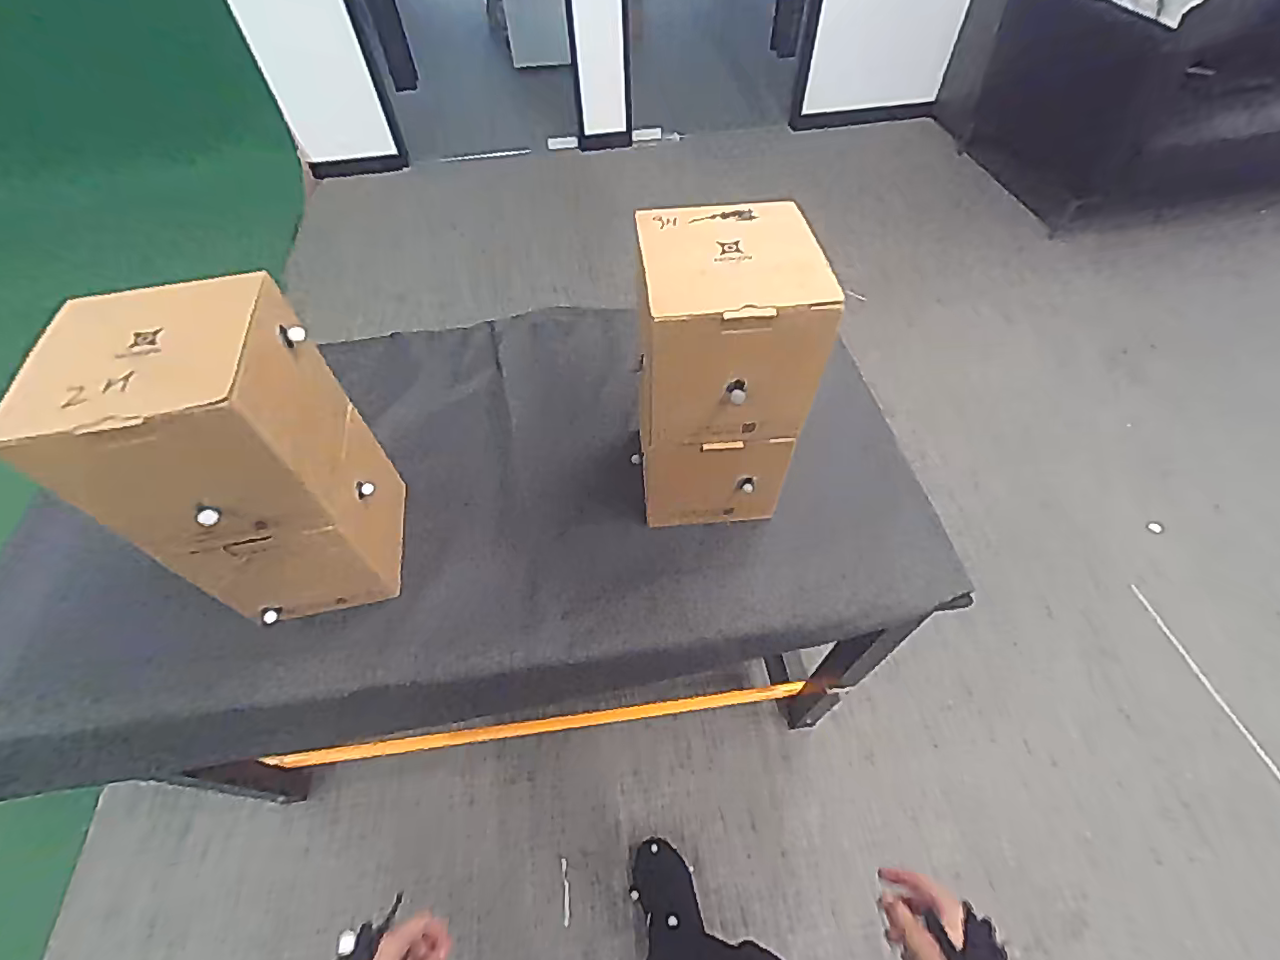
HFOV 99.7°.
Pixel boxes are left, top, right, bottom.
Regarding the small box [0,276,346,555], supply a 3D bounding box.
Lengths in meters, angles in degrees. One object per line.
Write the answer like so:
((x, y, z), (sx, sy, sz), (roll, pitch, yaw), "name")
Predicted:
((-0.396, -0.057, 0.501), (0.168, 0.176, 0.179), (-12, 54, -7), "small box")

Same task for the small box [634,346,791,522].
((0.081, -0.057, 0.694), (0.168, 0.176, 0.179), (-4, 53, -2), "small box")

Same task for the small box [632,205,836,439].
((0.081, -0.155, 0.562), (0.168, 0.176, 0.179), (-4, 54, -2), "small box")

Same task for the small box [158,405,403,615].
((-0.392, 0.043, 0.632), (0.168, 0.176, 0.179), (-10, 53, -6), "small box")
